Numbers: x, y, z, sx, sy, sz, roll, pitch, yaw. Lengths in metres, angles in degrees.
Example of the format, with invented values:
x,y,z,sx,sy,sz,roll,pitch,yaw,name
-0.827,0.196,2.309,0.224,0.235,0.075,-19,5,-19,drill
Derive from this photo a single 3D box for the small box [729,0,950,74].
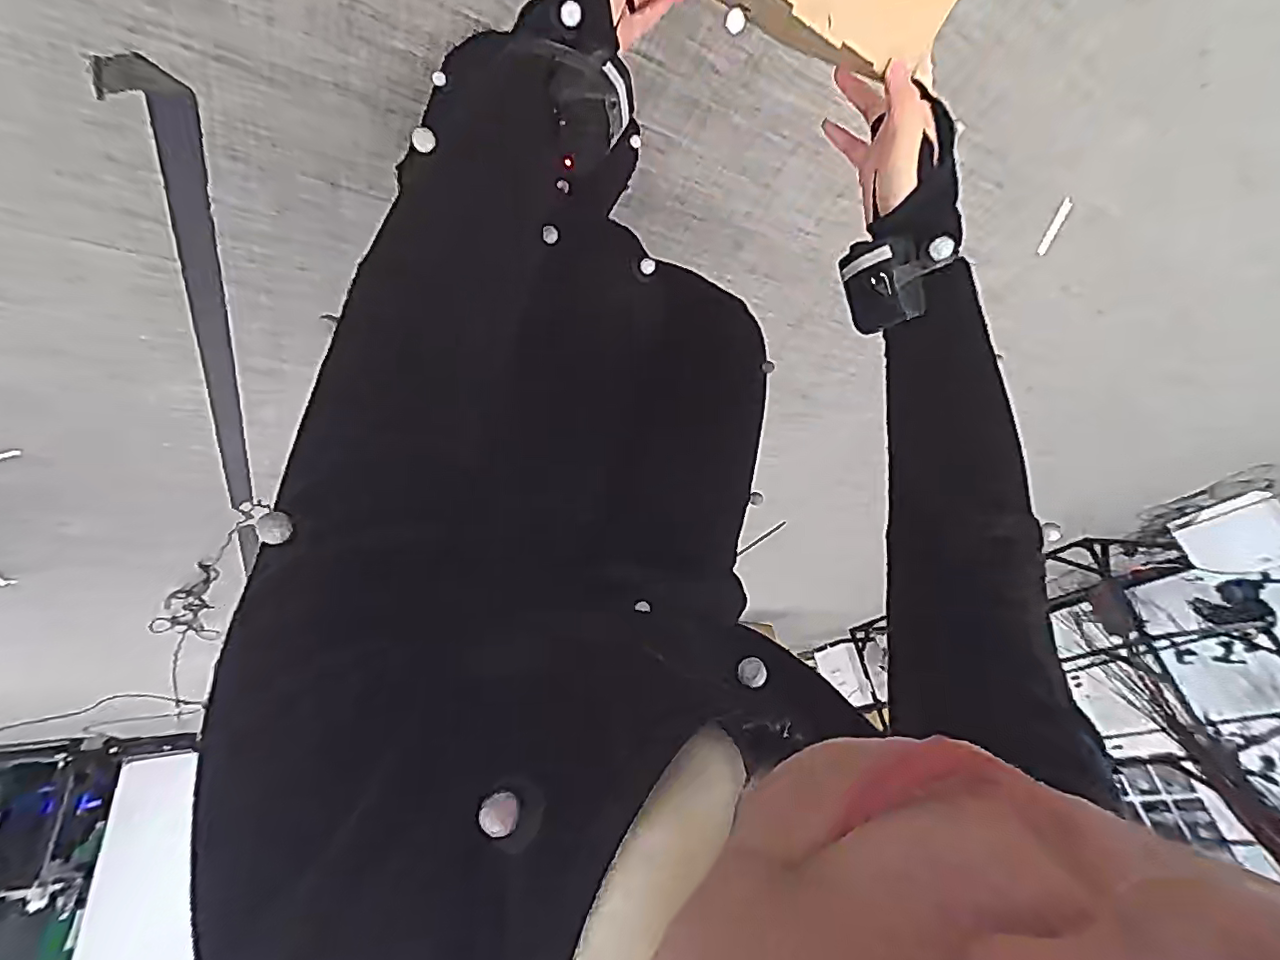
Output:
x,y,z,sx,sy,sz,roll,pitch,yaw,name
0.118,-0.398,0.328,0.168,0.176,0.179,7,131,-30,small box
